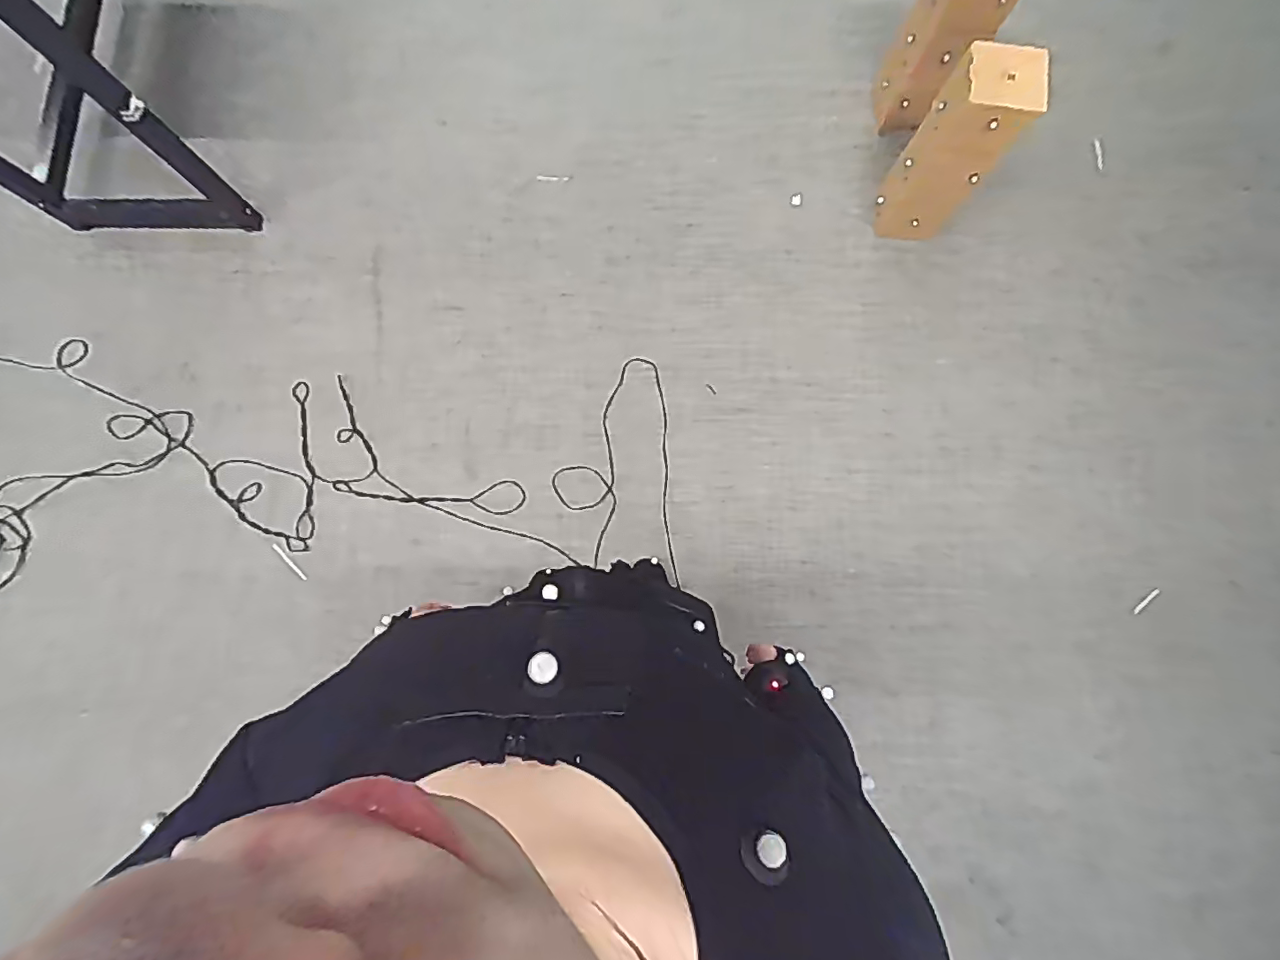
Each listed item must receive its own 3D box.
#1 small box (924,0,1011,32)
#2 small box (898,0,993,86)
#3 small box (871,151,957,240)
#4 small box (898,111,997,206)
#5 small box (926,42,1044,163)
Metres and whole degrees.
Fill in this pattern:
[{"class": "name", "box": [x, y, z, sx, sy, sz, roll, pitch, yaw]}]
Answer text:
[{"class": "small box", "box": [0.846, -1.274, 1.362, 0.179, 0.176, 0.168, -1, 79, 0]}, {"class": "small box", "box": [0.848, -1.251, 1.524, 0.179, 0.176, 0.168, -2, 81, -1]}, {"class": "small box", "box": [0.823, -0.847, 1.626, 0.179, 0.176, 0.168, 7, 81, 1]}, {"class": "small box", "box": [0.828, -0.870, 1.463, 0.179, 0.176, 0.168, 5, 80, 0]}, {"class": "small box", "box": [0.826, -0.899, 1.303, 0.179, 0.176, 0.168, 7, 81, 1]}]
